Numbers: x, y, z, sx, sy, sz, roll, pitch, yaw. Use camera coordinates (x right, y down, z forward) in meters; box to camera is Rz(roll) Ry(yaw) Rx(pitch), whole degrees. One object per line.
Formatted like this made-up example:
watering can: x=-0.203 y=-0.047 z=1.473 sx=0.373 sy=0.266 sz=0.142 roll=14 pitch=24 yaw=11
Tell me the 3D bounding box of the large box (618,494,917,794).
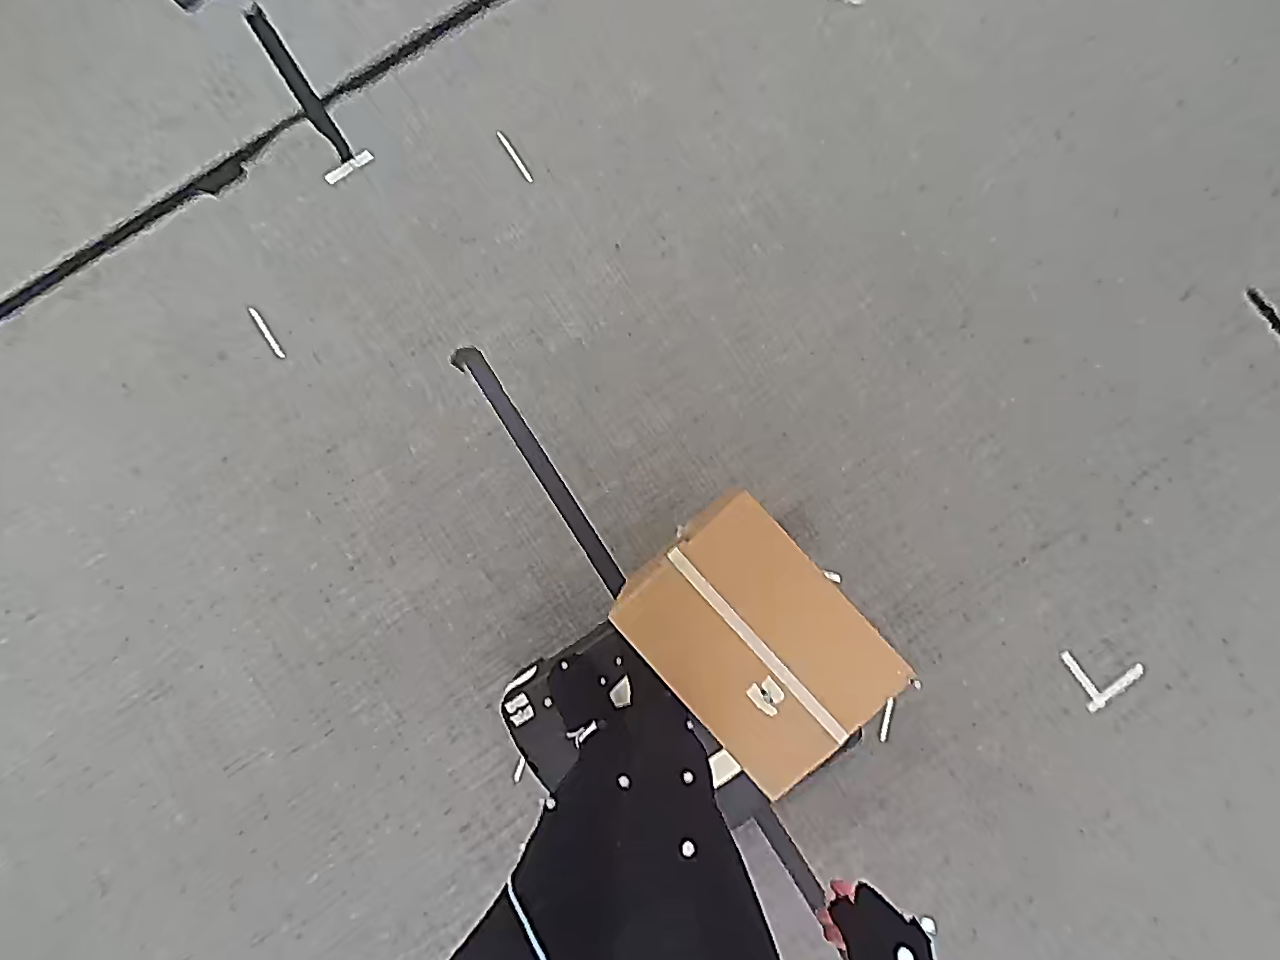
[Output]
large box: x=0.213 y=0.271 z=1.036 sx=0.320 sy=0.320 sz=0.408 roll=-43 pitch=87 yaw=4
